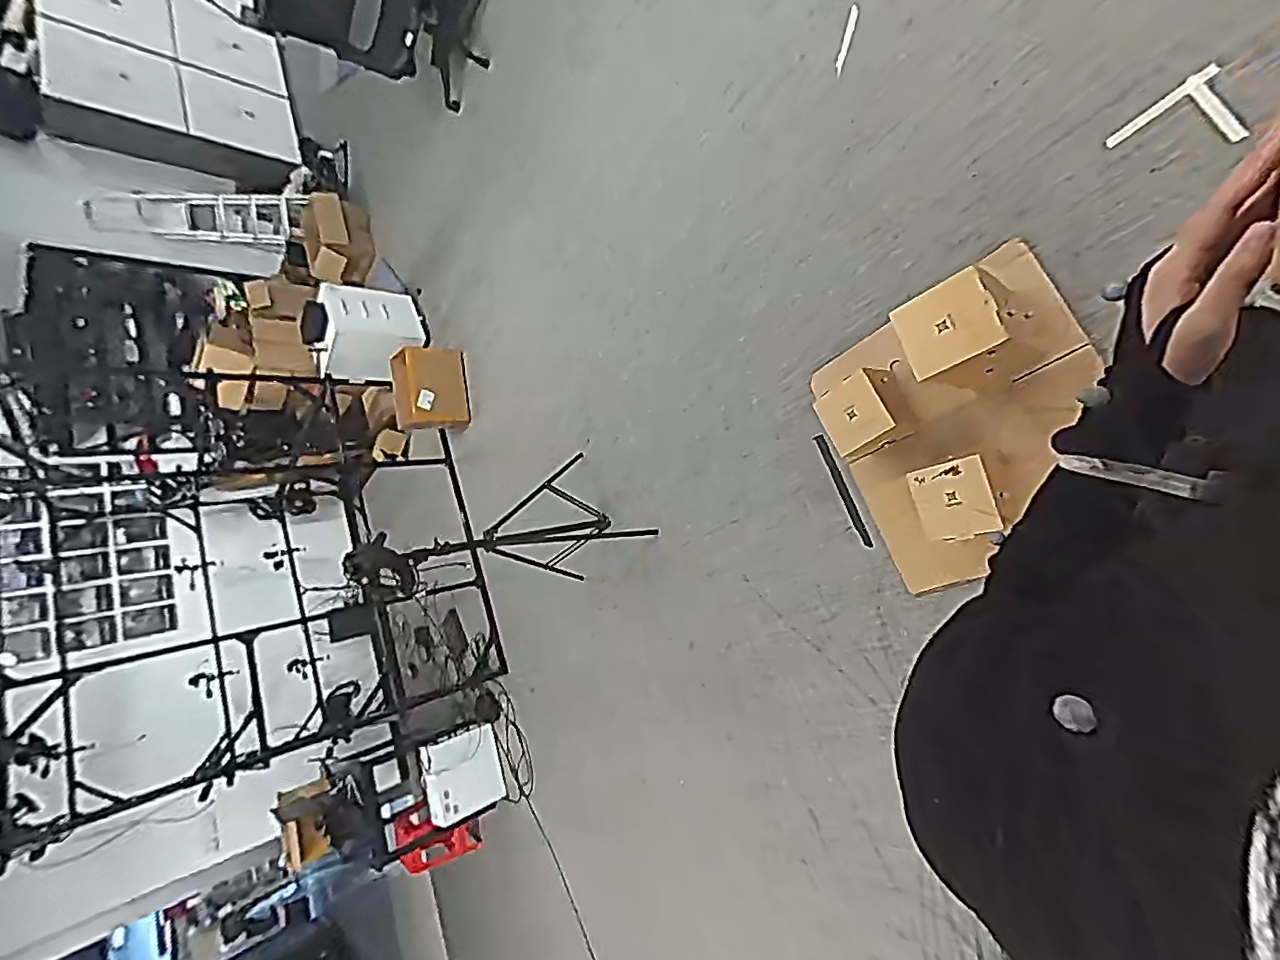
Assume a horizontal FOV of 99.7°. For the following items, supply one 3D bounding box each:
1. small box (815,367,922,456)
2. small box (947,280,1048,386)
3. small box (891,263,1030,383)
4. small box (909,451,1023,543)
[{"bbox_3d":[0.610,-0.179,1.441,0.168,0.176,0.179,-41,65,43],"label":"small box"},{"bbox_3d":[0.784,-0.324,1.232,0.179,0.176,0.168,-33,71,43],"label":"small box"},{"bbox_3d":[0.665,-0.313,1.122,0.179,0.176,0.168,-29,74,44],"label":"small box"},{"bbox_3d":[0.776,0.039,1.283,0.168,0.176,0.179,-22,80,46],"label":"small box"}]
